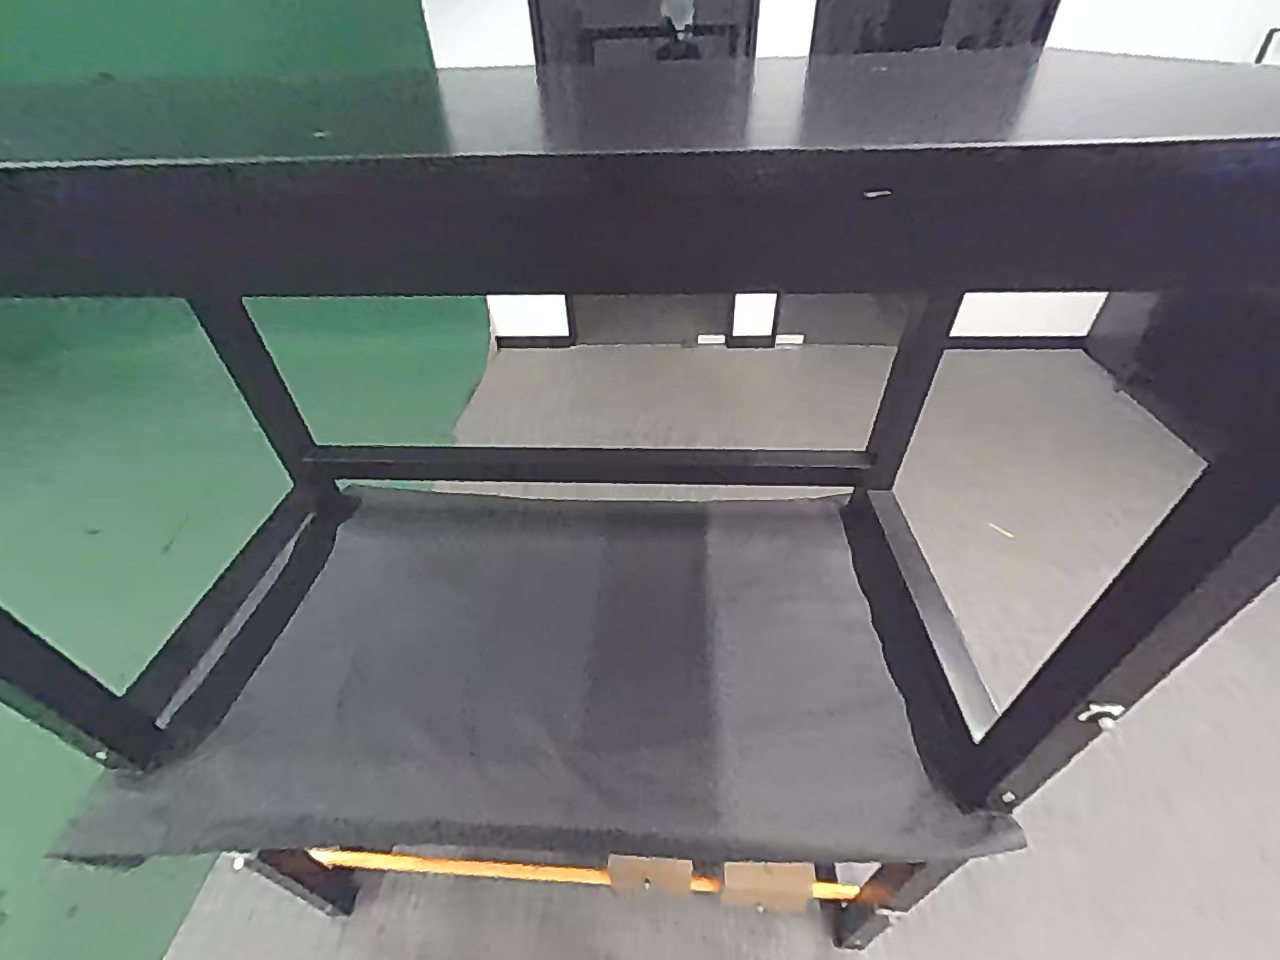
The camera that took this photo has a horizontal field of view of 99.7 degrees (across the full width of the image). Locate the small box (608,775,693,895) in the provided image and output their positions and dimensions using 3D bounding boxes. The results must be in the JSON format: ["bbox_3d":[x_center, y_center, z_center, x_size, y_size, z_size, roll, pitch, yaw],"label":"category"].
[{"bbox_3d":[0.028,0.751,1.141,0.168,0.176,0.179,1,41,3],"label":"small box"}]
